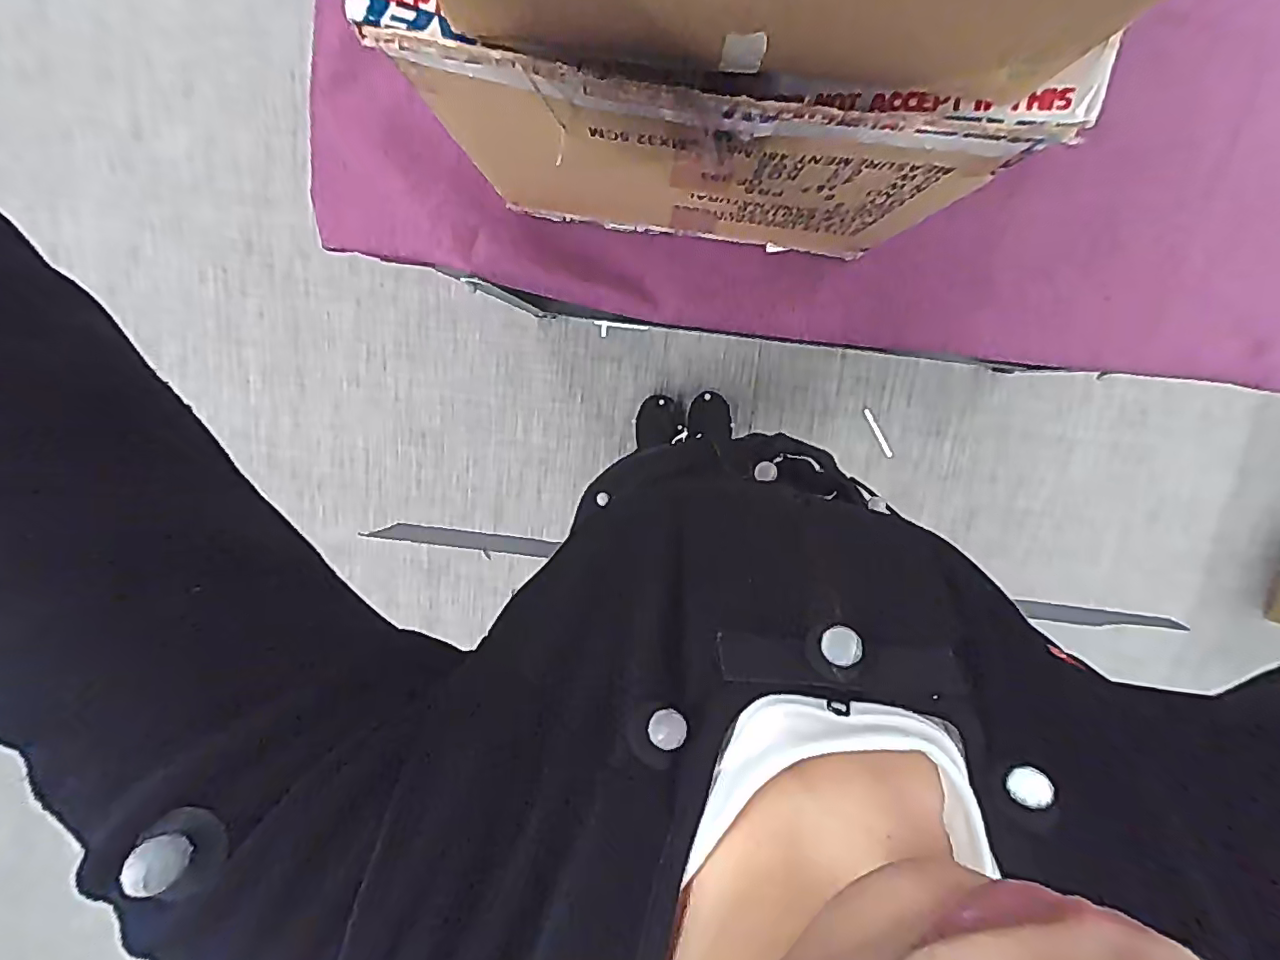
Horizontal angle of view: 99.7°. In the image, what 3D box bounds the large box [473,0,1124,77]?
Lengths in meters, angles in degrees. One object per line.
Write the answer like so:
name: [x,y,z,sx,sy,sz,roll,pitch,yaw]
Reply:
large box: [0.078,-0.394,0.106,0.320,0.320,0.408,6,101,1]
